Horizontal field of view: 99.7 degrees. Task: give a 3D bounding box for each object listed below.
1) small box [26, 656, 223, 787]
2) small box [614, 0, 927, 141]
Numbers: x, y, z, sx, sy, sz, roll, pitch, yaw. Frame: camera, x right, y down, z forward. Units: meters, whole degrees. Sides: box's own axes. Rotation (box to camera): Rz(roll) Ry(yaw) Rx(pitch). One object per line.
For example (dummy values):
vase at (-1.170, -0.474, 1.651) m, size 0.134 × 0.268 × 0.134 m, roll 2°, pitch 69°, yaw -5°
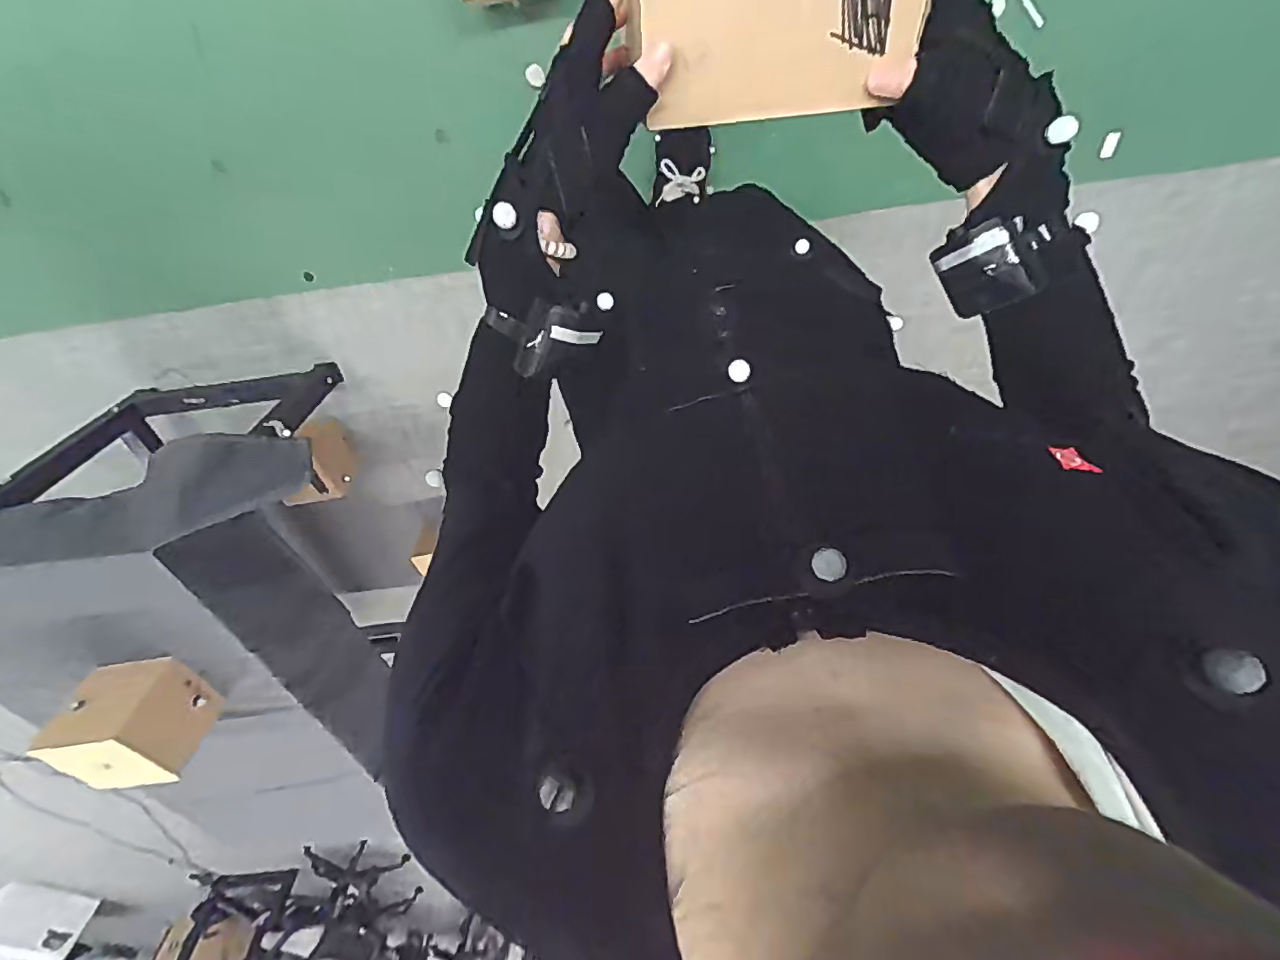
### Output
small box at (-0.965, 0.459, 1.034) m, size 0.179 × 0.176 × 0.168 m, roll -9°, pitch 129°, yaw 5°
small box at (0.074, -0.346, 0.352) m, size 0.179 × 0.176 × 0.168 m, roll -7°, pitch 137°, yaw -1°
